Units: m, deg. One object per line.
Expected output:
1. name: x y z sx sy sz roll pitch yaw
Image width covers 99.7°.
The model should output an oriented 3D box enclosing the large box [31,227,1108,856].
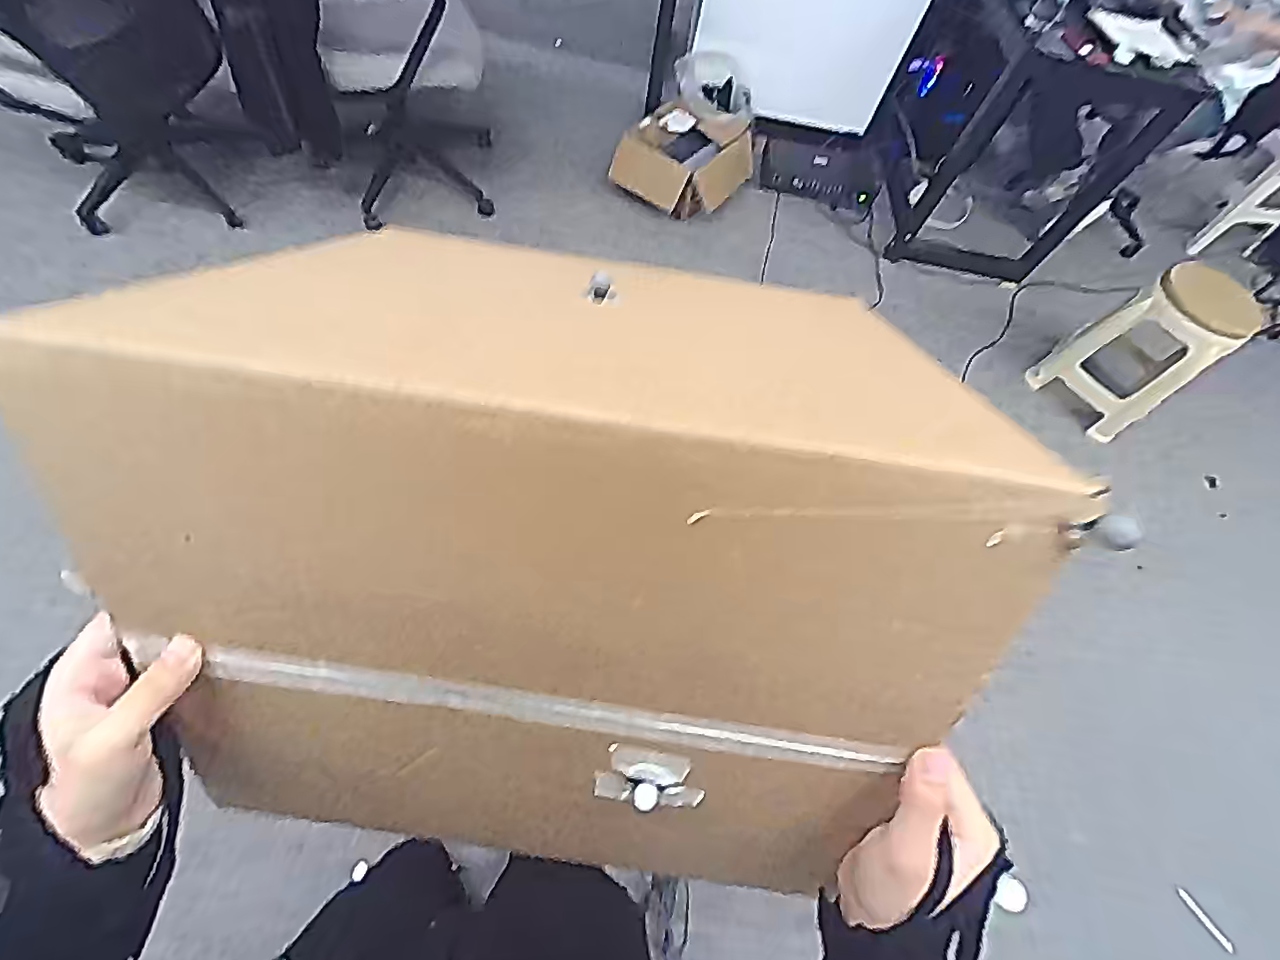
1. large box: -0.035 0.011 0.397 0.408 0.320 0.320 7 31 0
